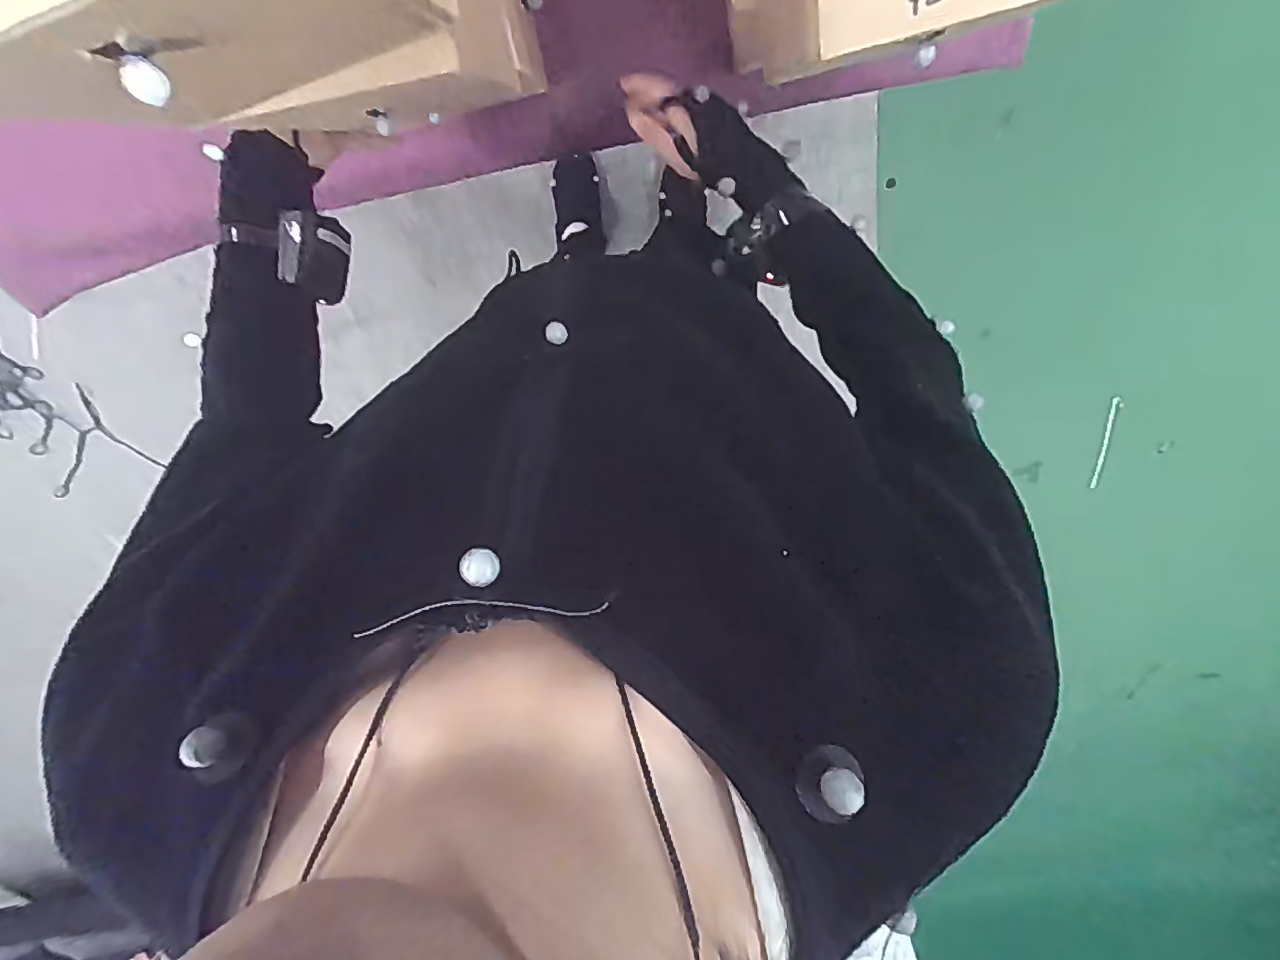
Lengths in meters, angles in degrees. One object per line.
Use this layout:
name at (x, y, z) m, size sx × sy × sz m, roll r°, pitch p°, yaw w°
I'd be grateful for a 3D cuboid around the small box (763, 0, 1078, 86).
small box at (0.161, -0.356, 0.309) m, size 0.168 × 0.176 × 0.179 m, roll -10°, pitch 121°, yaw 8°

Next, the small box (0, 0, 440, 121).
small box at (-0.194, -0.249, 0.193) m, size 0.179 × 0.176 × 0.168 m, roll -13°, pitch 121°, yaw 10°

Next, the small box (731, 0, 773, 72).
small box at (0.163, -0.458, 0.439) m, size 0.179 × 0.176 × 0.168 m, roll -12°, pitch 122°, yaw 8°

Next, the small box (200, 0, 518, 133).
small box at (-0.187, -0.330, 0.334) m, size 0.168 × 0.176 × 0.179 m, roll -7°, pitch 121°, yaw 6°

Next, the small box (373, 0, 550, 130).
small box at (-0.193, -0.420, 0.472) m, size 0.179 × 0.176 × 0.168 m, roll -10°, pitch 121°, yaw 6°
